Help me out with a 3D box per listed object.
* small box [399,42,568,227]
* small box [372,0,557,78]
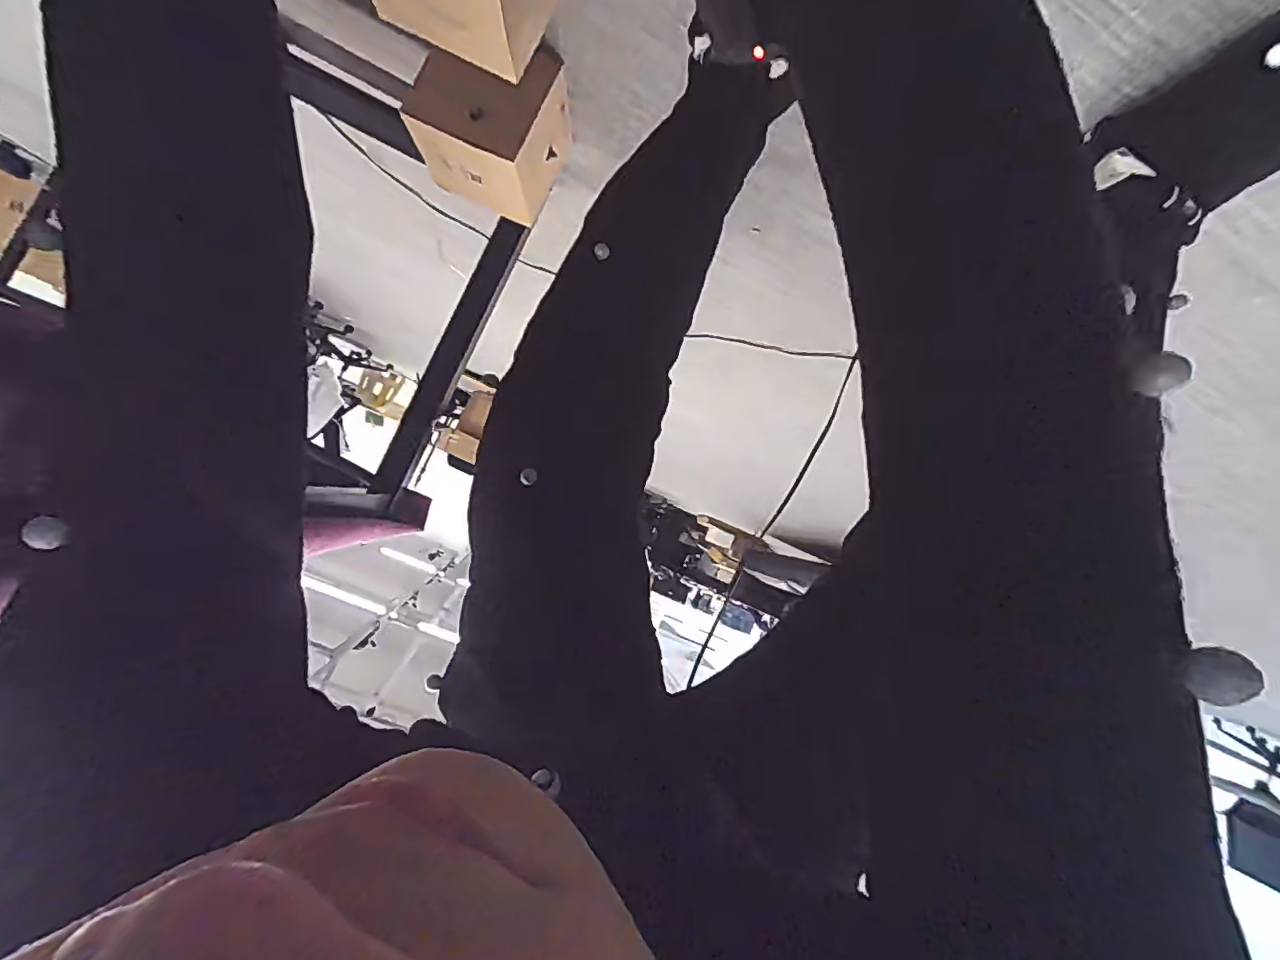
[{"bbox_3d":[-0.217,-0.526,0.808,0.179,0.176,0.168,25,174,-1],"label":"small box"},{"bbox_3d":[-0.162,-0.540,0.495,0.168,0.176,0.179,25,175,-3],"label":"small box"}]
